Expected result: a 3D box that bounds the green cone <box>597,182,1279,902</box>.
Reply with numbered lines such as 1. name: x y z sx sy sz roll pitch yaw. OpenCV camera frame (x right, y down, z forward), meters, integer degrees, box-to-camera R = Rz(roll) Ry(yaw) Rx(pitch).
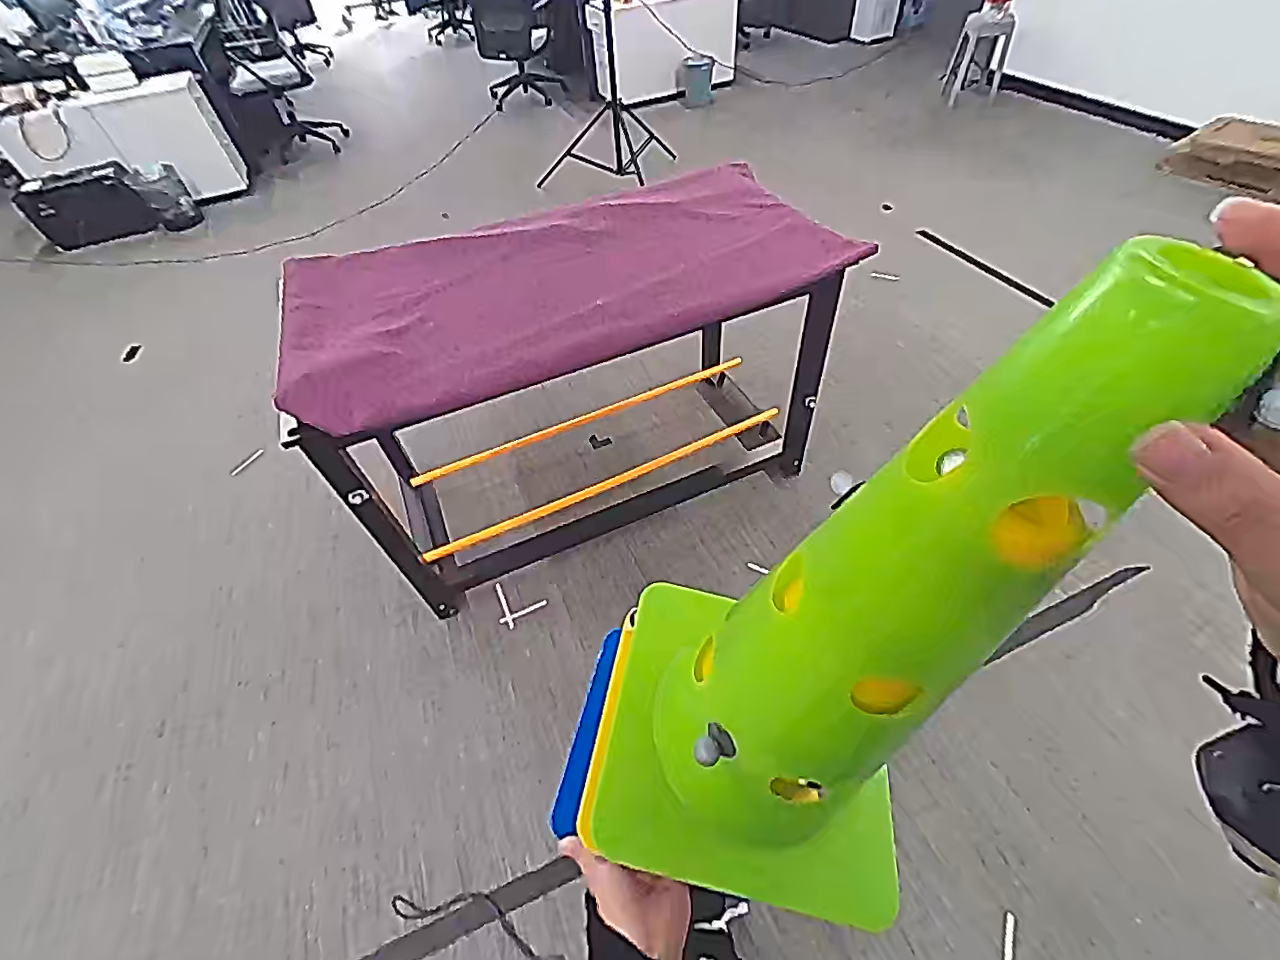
1. green cone: 0.109 0.052 0.259 0.200 0.368 0.202 14 49 1
